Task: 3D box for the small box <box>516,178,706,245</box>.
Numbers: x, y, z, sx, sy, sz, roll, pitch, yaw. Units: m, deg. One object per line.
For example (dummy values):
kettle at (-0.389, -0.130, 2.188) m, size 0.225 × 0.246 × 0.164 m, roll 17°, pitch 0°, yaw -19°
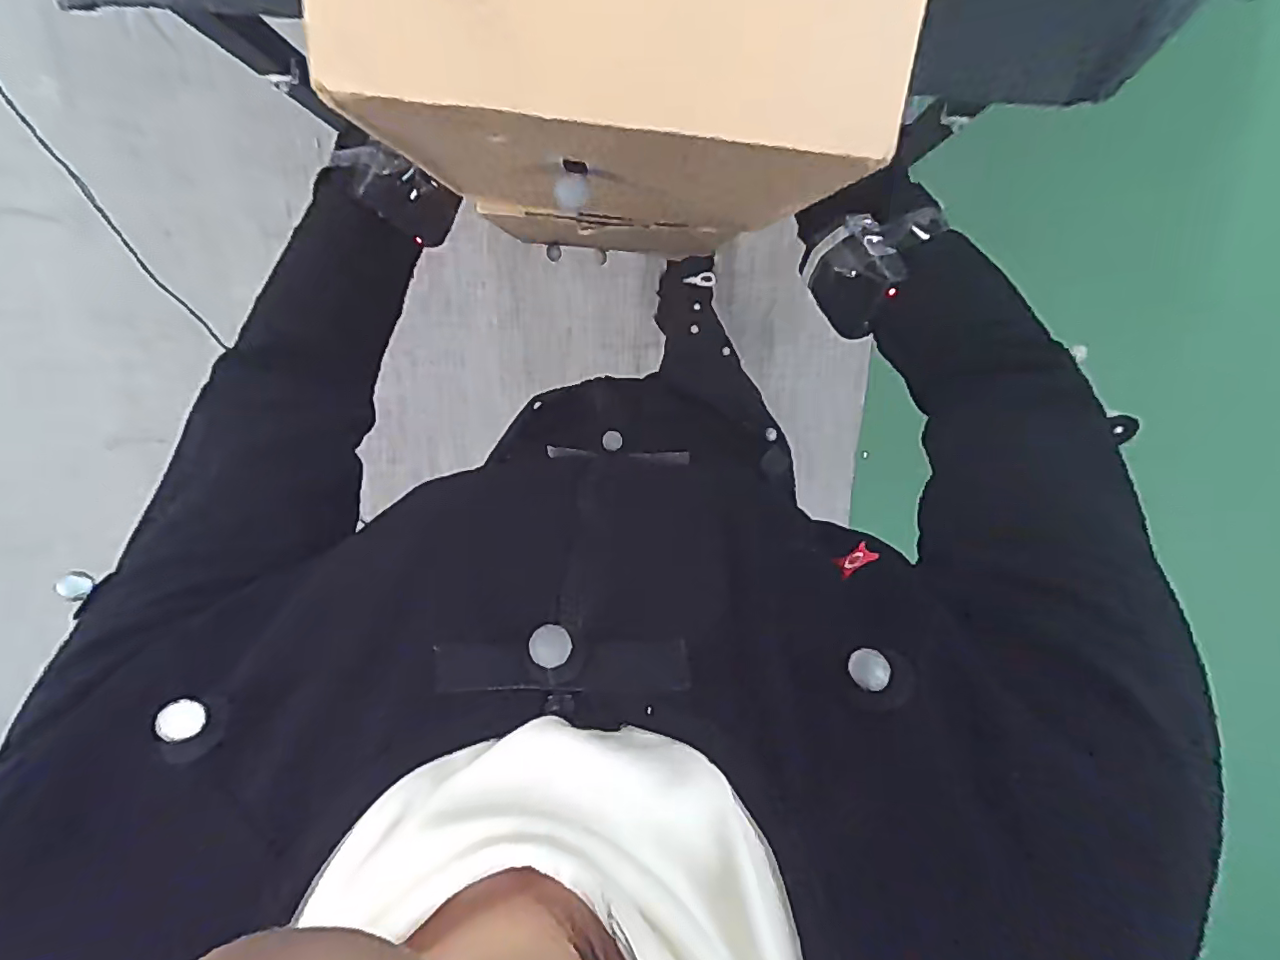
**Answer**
small box at (-0.019, -0.337, 0.521) m, size 0.168 × 0.176 × 0.179 m, roll 6°, pitch 109°, yaw -3°
